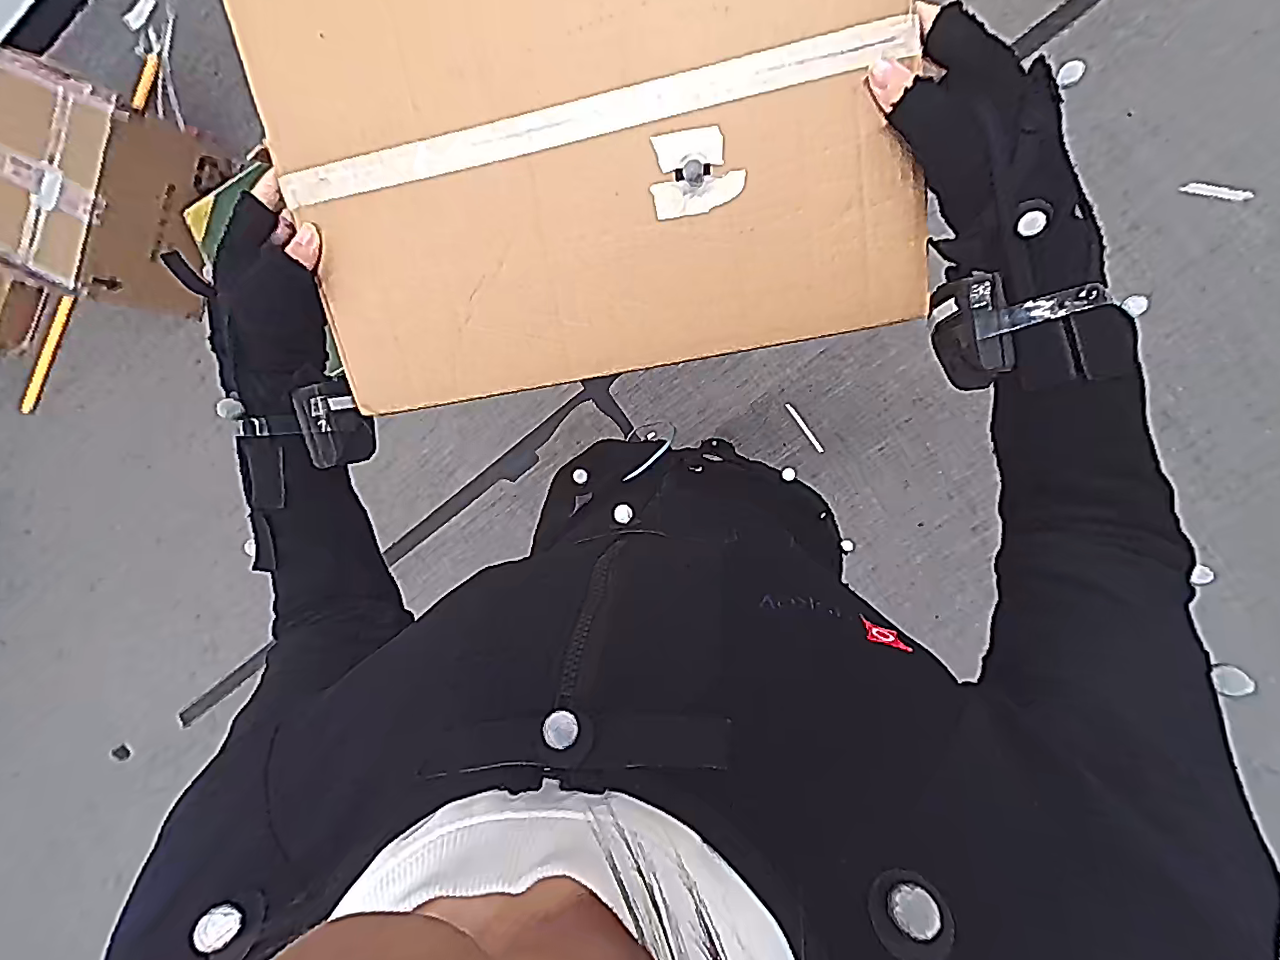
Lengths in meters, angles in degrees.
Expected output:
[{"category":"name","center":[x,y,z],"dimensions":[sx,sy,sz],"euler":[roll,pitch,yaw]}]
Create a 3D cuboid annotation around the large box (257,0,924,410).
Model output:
[{"category":"large box","center":[-0.020,-0.269,0.494],"dimensions":[0.408,0.320,0.320],"euler":[-9,106,7]}]
